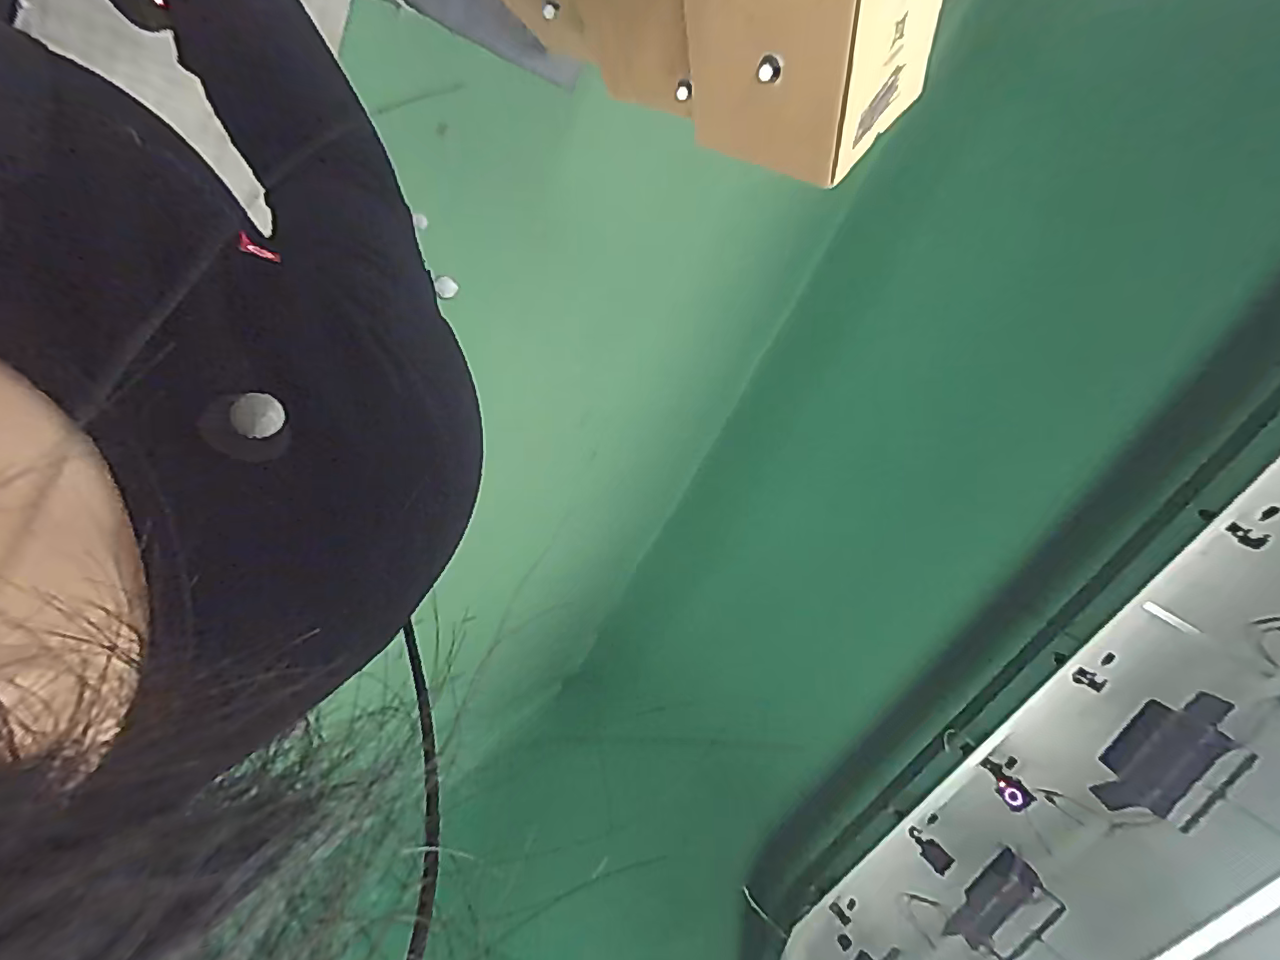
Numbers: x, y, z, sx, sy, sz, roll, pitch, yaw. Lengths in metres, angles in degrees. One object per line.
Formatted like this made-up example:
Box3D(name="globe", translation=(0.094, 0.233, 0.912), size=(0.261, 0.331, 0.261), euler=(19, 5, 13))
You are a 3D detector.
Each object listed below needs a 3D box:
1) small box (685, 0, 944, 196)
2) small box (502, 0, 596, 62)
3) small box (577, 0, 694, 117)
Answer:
Box3D(name="small box", translation=(0.157, -0.412, 0.502), size=(0.168, 0.176, 0.179), euler=(-49, 154, -14))
Box3D(name="small box", translation=(-0.070, -0.618, 0.625), size=(0.179, 0.176, 0.168), euler=(2, 120, -60))
Box3D(name="small box", translation=(0.045, -0.519, 0.565), size=(0.168, 0.176, 0.179), euler=(-53, 156, -5))
